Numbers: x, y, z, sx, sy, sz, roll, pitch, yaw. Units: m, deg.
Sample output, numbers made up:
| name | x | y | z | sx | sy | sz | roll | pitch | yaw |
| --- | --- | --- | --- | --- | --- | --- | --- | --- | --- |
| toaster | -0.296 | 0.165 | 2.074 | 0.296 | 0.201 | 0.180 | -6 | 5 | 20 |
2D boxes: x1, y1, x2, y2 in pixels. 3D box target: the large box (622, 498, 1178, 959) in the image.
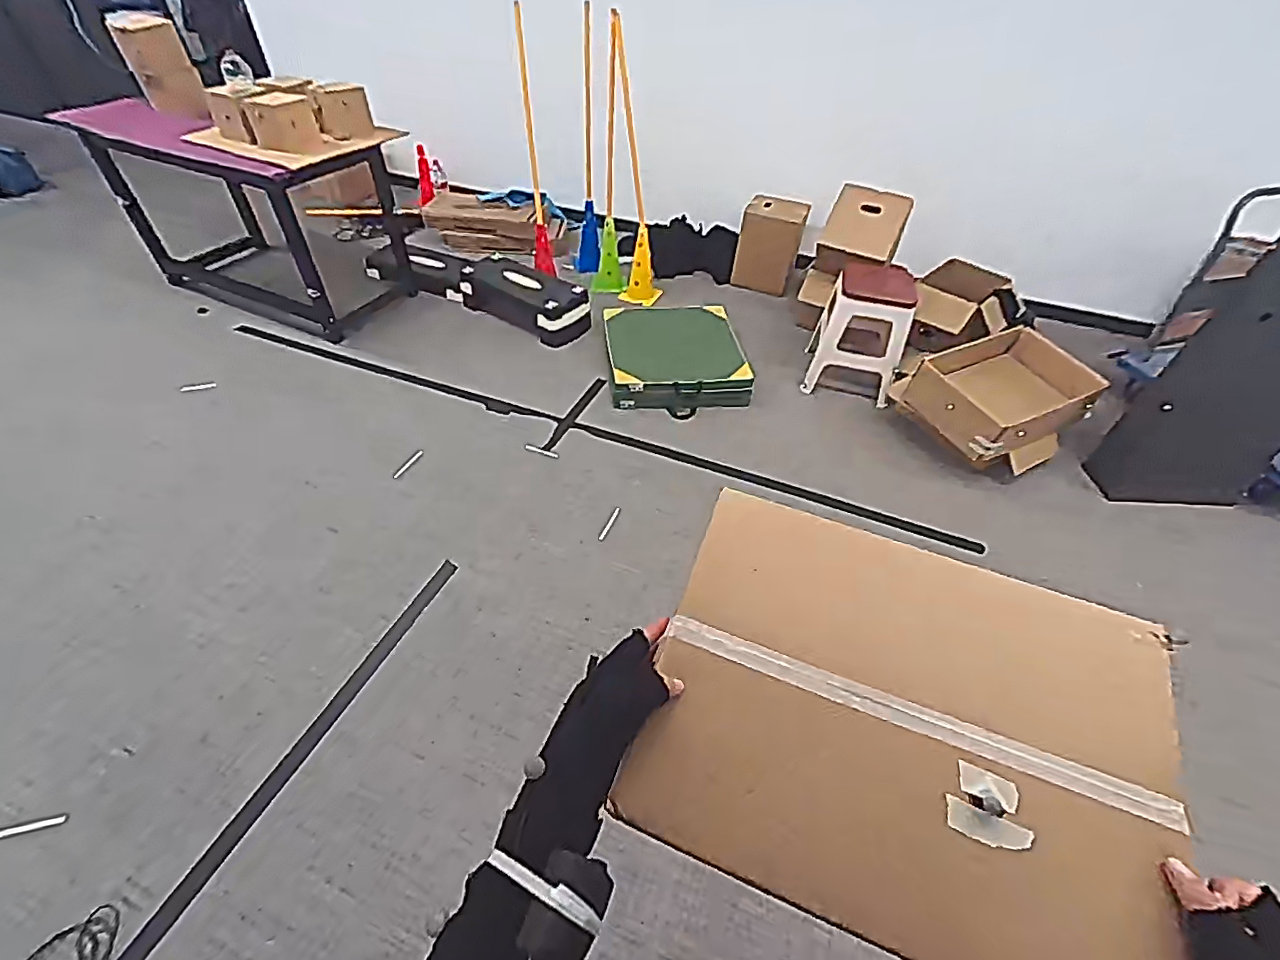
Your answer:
| name | x | y | z | sx | sy | sz | roll | pitch | yaw |
| --- | --- | --- | --- | --- | --- | --- | --- | --- | --- |
| large box | 0.223 | 0.274 | 0.586 | 0.408 | 0.320 | 0.320 | 19 | 62 | 13 |
